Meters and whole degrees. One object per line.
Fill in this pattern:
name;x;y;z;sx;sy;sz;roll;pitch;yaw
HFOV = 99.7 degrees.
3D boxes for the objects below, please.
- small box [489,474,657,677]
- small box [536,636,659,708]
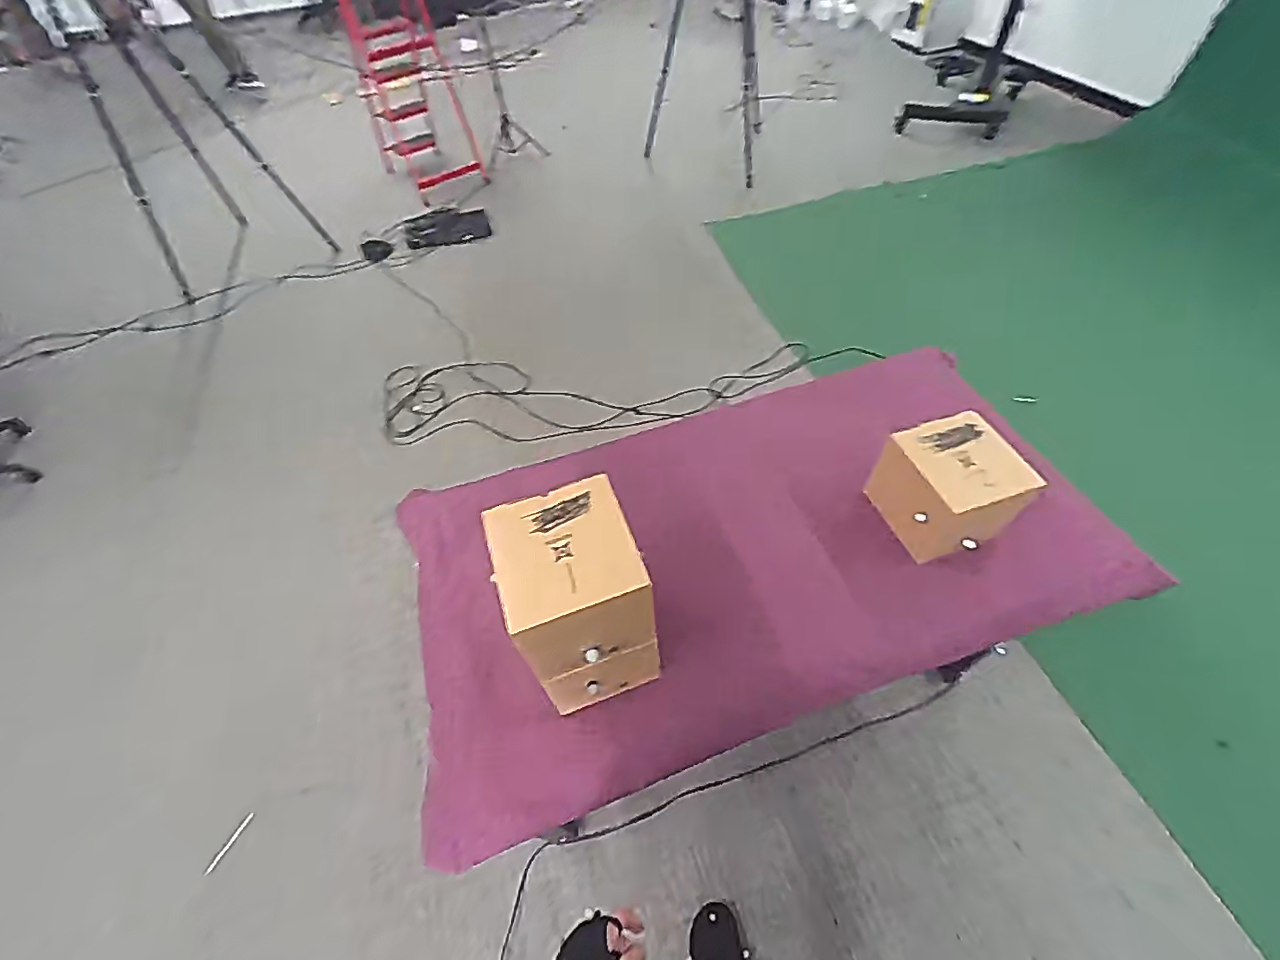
small box;-0.083;0.126;0.703;0.168;0.176;0.179;-18;54;-9
small box;-0.075;0.229;0.831;0.168;0.176;0.179;-18;52;-10
